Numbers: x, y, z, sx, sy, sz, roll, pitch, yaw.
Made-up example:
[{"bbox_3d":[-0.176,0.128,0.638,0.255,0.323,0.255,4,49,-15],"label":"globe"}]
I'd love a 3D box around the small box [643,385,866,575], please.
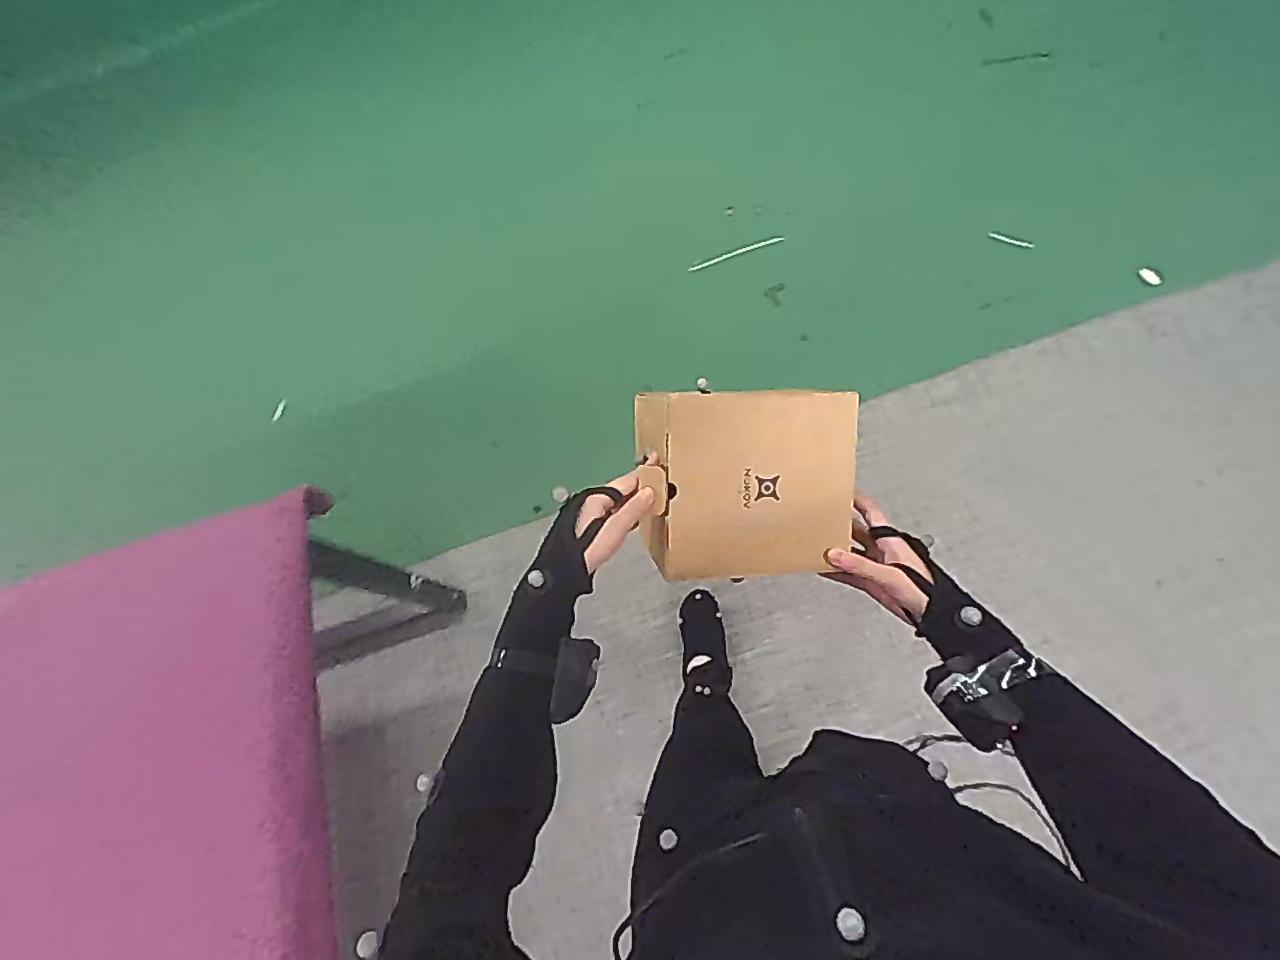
[{"bbox_3d":[0.101,-0.012,0.551,0.179,0.176,0.168,-2,99,-7],"label":"small box"}]
